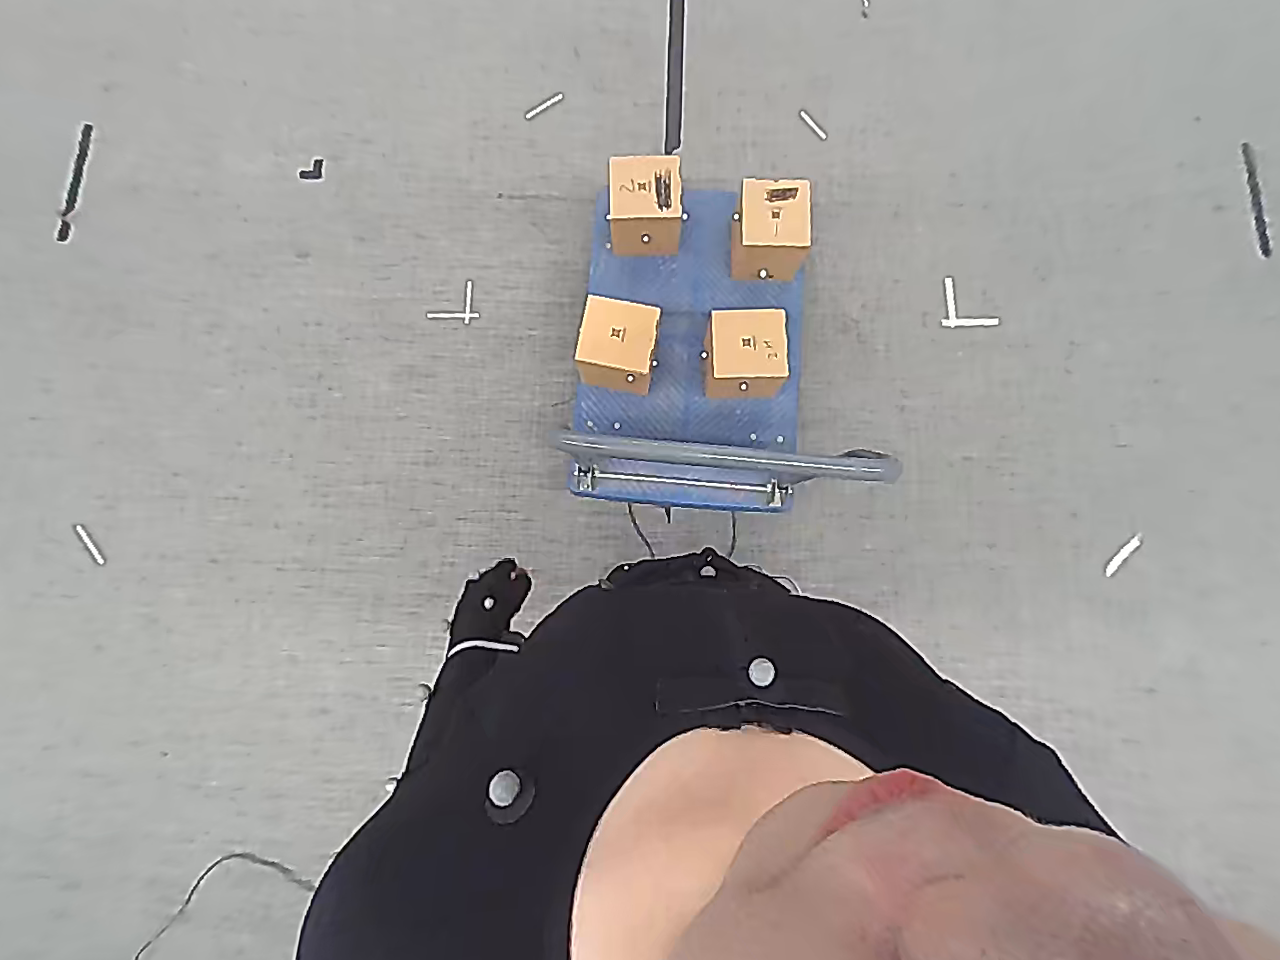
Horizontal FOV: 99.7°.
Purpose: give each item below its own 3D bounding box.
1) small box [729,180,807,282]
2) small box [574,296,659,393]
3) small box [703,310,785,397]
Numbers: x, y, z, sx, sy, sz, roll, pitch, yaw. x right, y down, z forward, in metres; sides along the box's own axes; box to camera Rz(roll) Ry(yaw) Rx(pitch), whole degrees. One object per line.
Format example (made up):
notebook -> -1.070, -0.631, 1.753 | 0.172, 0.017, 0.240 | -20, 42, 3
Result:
small box -> 0.323, -0.633, 1.387 | 0.168, 0.176, 0.179 | 2, 83, 0
small box -> -0.056, -0.329, 1.343 | 0.179, 0.176, 0.168 | 10, 81, 0
small box -> 0.250, -0.306, 1.340 | 0.179, 0.176, 0.168 | -1, 82, 0
